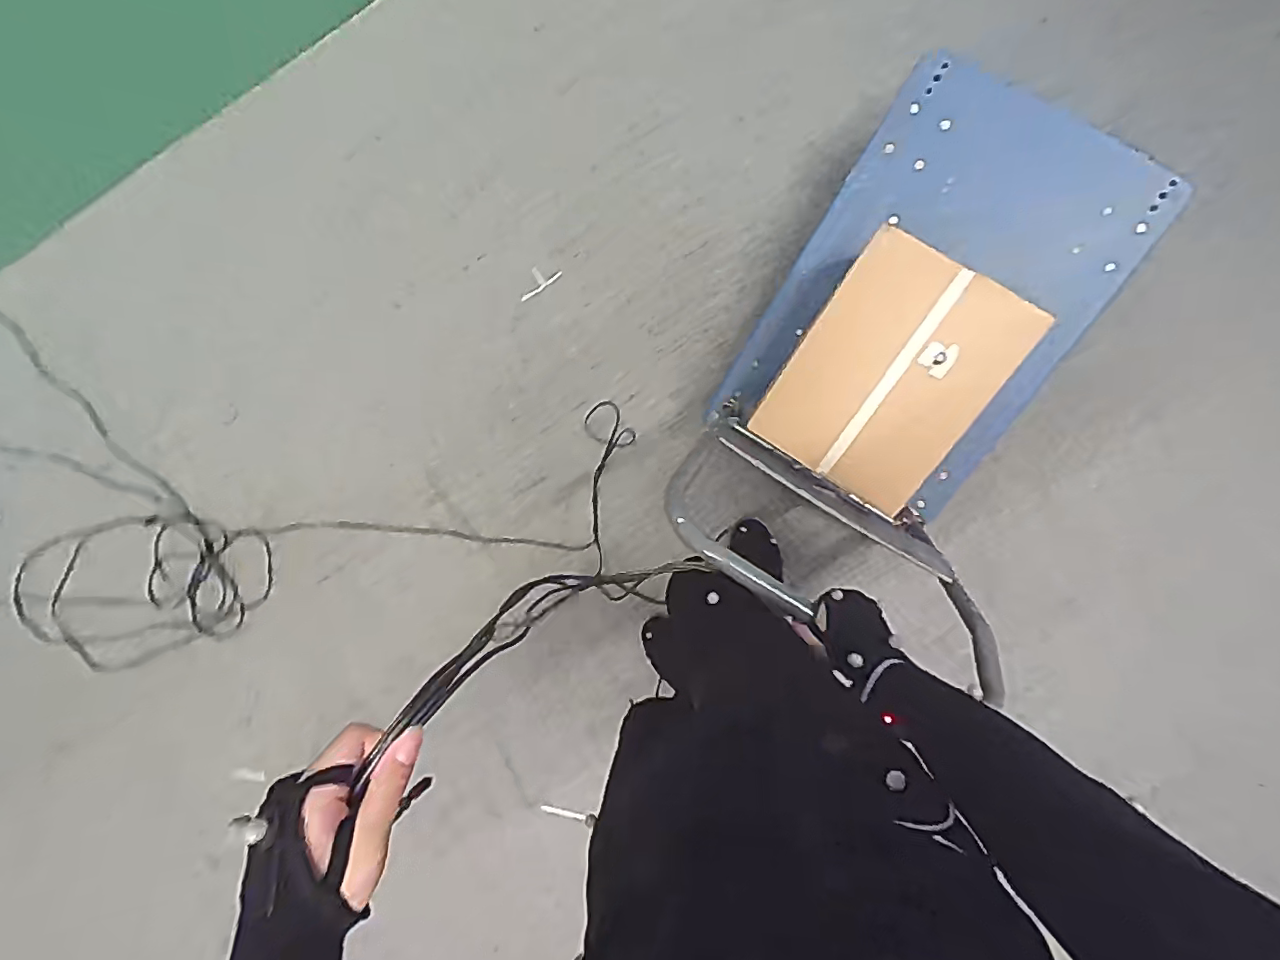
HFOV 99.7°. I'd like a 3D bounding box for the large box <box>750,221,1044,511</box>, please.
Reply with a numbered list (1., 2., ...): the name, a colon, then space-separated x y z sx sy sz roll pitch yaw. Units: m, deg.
1. large box: 0.459 -0.212 1.073 0.320 0.320 0.408 33 107 5
